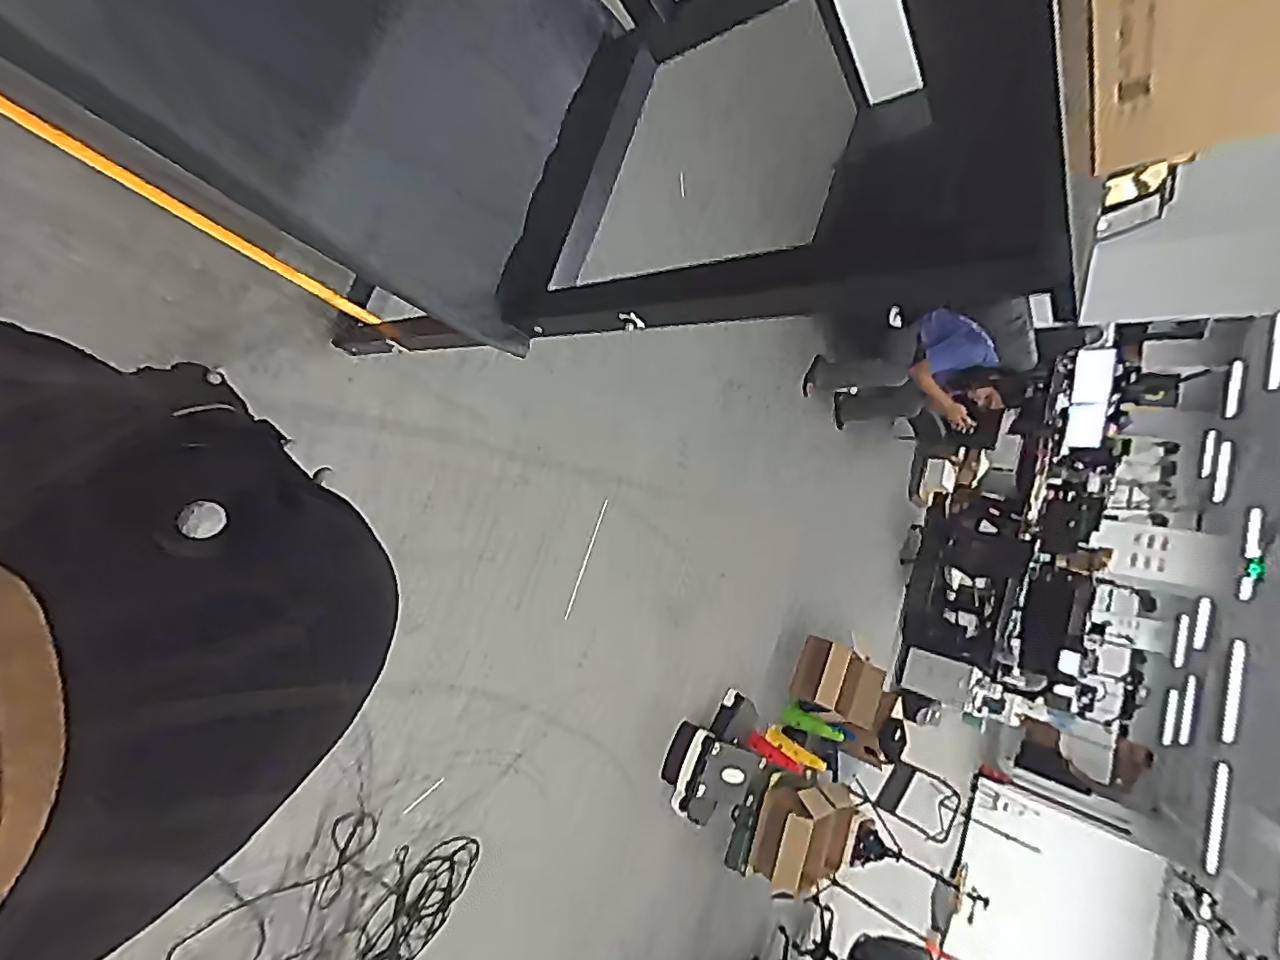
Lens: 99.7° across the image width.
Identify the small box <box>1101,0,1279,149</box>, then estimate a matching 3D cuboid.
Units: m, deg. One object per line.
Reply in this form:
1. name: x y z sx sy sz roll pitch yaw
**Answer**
1. small box: 0.359 -0.319 0.281 0.168 0.176 0.179 34 72 -45
